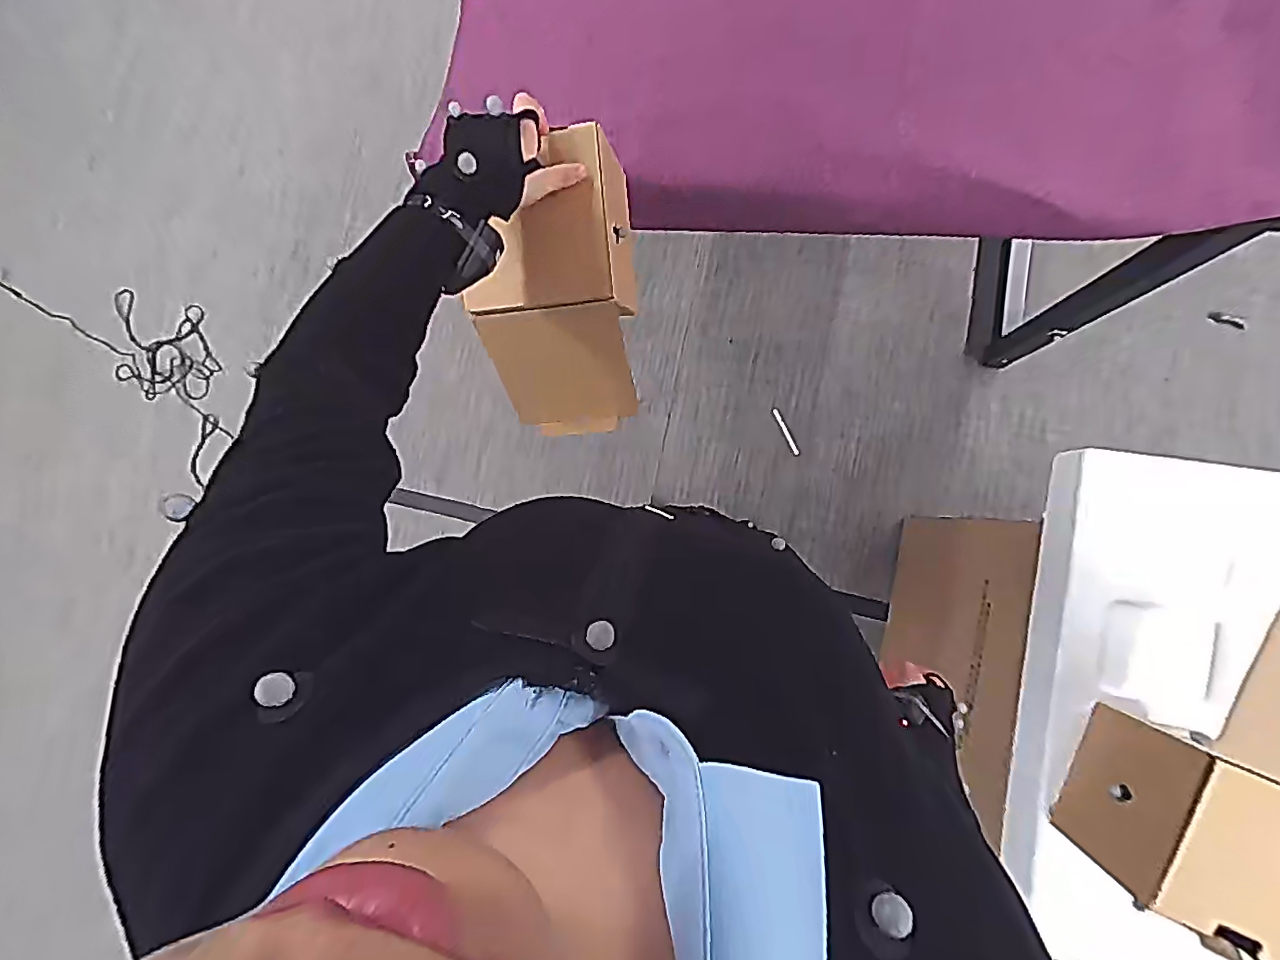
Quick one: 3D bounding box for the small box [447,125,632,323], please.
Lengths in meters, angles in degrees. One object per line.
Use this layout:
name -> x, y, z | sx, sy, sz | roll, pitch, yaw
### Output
small box -> -0.106, -0.288, 0.651 | 0.168, 0.176, 0.179 | -3, 101, 8
